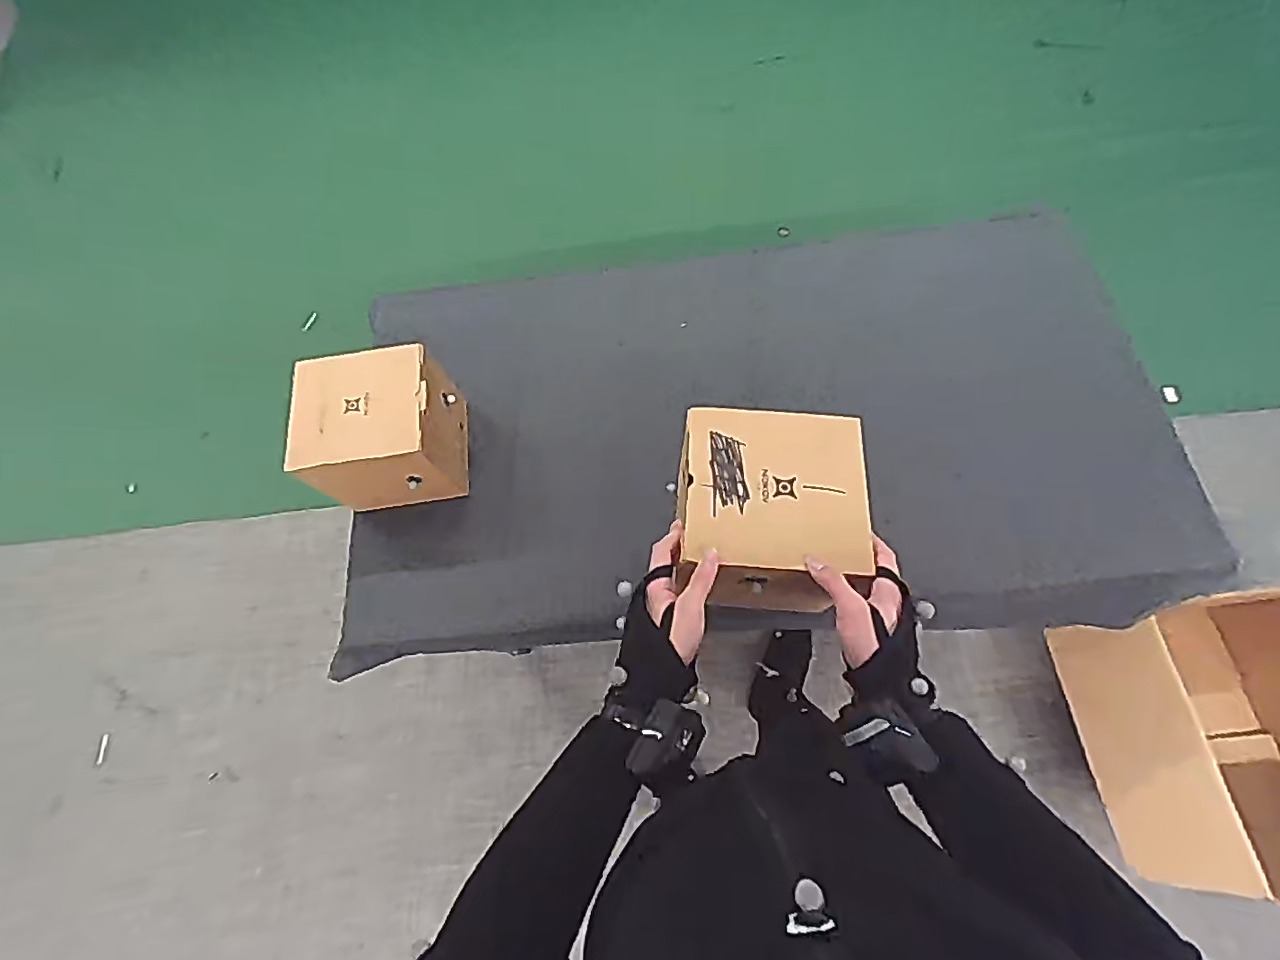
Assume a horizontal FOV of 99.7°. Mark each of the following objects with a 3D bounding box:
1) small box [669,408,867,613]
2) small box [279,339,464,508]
[{"bbox_3d":[0.128,0.042,0.589,0.179,0.176,0.168,8,67,3],"label":"small box"},{"bbox_3d":[-0.359,-0.071,0.761,0.179,0.176,0.168,-9,68,2],"label":"small box"}]
